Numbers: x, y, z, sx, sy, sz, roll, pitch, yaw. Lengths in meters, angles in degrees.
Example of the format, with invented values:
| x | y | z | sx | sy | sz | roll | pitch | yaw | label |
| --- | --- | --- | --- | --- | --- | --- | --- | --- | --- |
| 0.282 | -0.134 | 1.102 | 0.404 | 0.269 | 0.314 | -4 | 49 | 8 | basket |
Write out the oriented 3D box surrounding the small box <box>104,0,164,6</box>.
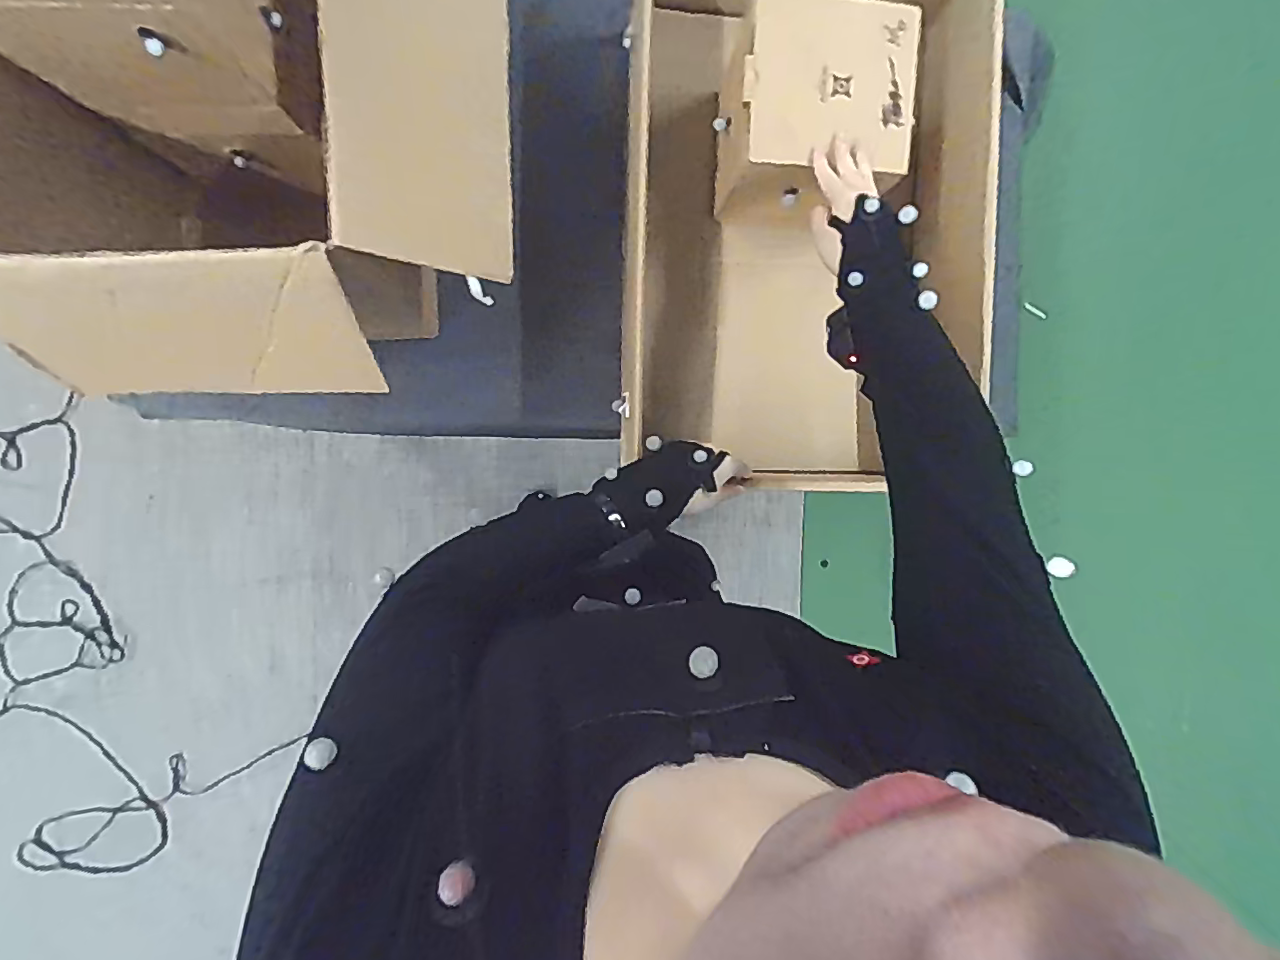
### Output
| x | y | z | sx | sy | sz | roll | pitch | yaw | label |
| --- | --- | --- | --- | --- | --- | --- | --- | --- | --- |
| -0.392 | -0.409 | 0.282 | 0.168 | 0.176 | 0.179 | 0 | 96 | -3 | small box |
